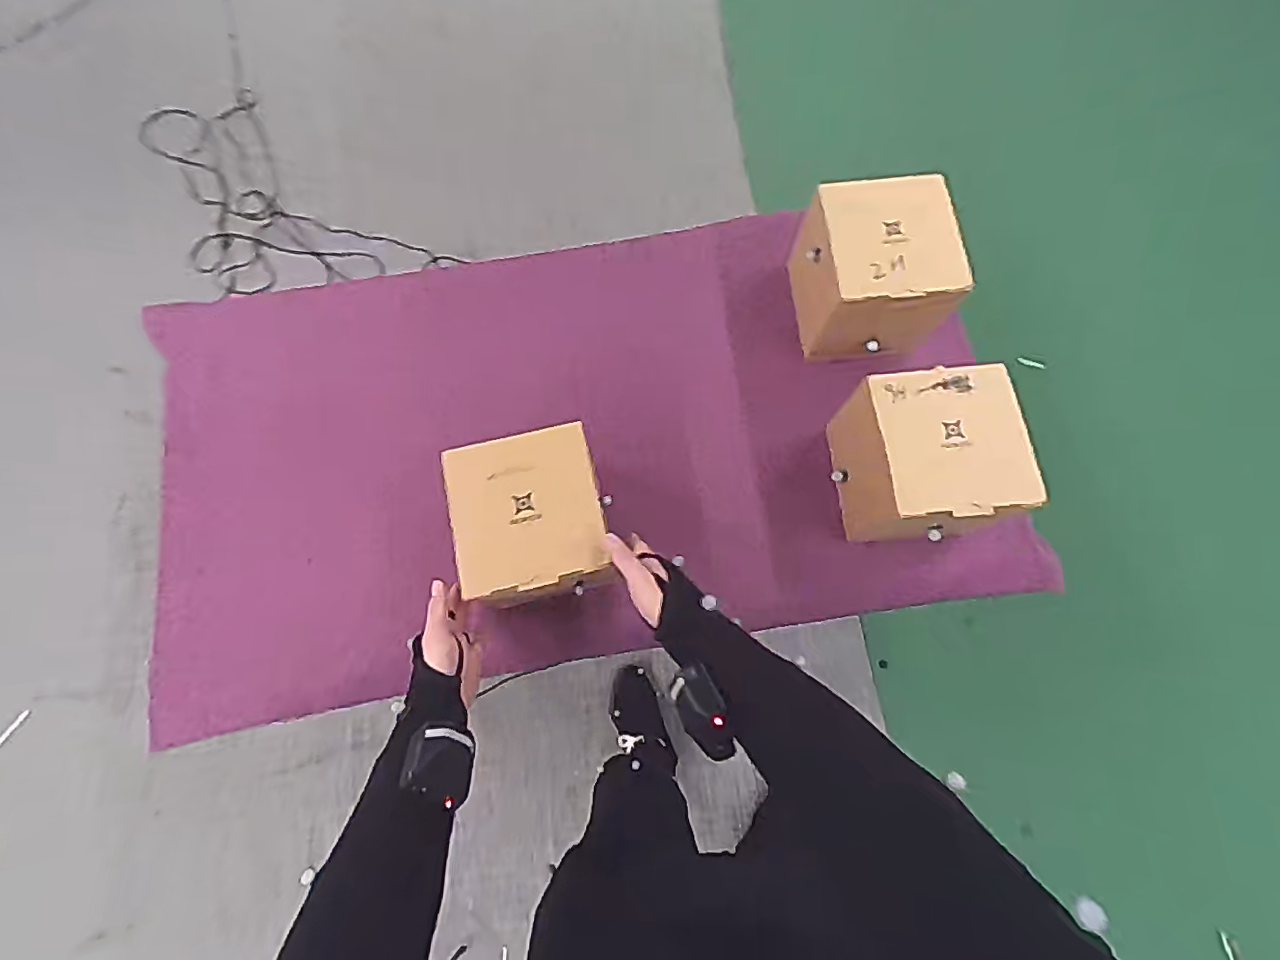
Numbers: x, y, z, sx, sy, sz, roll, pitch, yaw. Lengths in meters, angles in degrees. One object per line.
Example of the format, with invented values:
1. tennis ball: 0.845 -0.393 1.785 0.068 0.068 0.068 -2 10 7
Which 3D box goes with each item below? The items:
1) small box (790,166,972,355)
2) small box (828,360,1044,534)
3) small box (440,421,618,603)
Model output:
1. small box: 0.318 -0.295 0.753 0.168 0.176 0.179 -5 76 1
2. small box: 0.354 -0.030 0.684 0.168 0.176 0.179 -5 75 1
3. small box: -0.128 0.051 0.677 0.168 0.176 0.179 -14 75 -2
